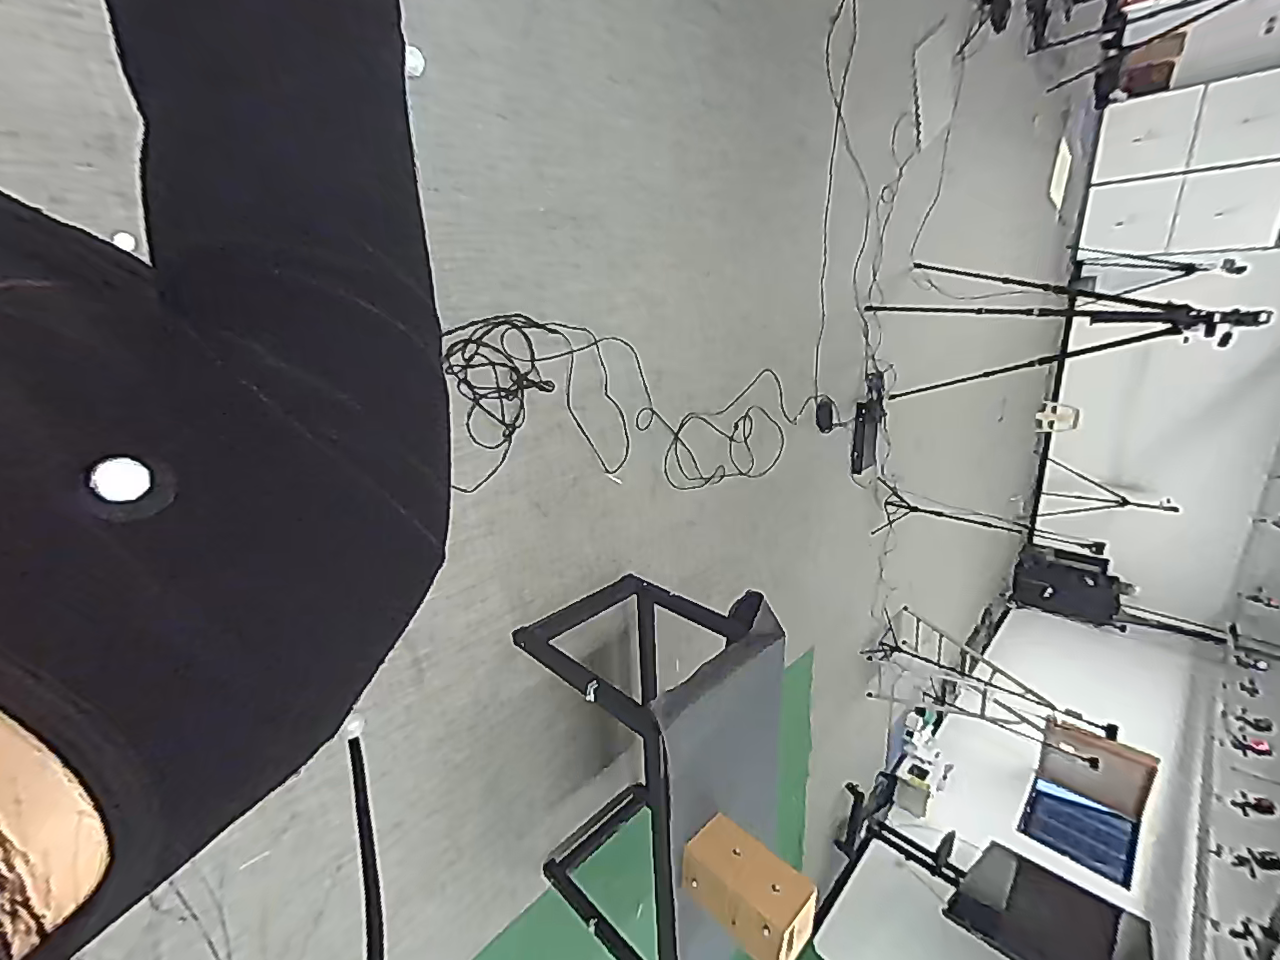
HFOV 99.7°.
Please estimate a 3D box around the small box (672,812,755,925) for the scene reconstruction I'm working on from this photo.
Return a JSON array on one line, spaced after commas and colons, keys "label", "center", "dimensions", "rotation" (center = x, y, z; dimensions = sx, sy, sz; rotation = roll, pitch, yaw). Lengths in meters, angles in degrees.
[{"label": "small box", "center": [0.215, 1.132, 1.594], "dimensions": [0.179, 0.176, 0.168], "rotation": [-14, 111, -44]}]
